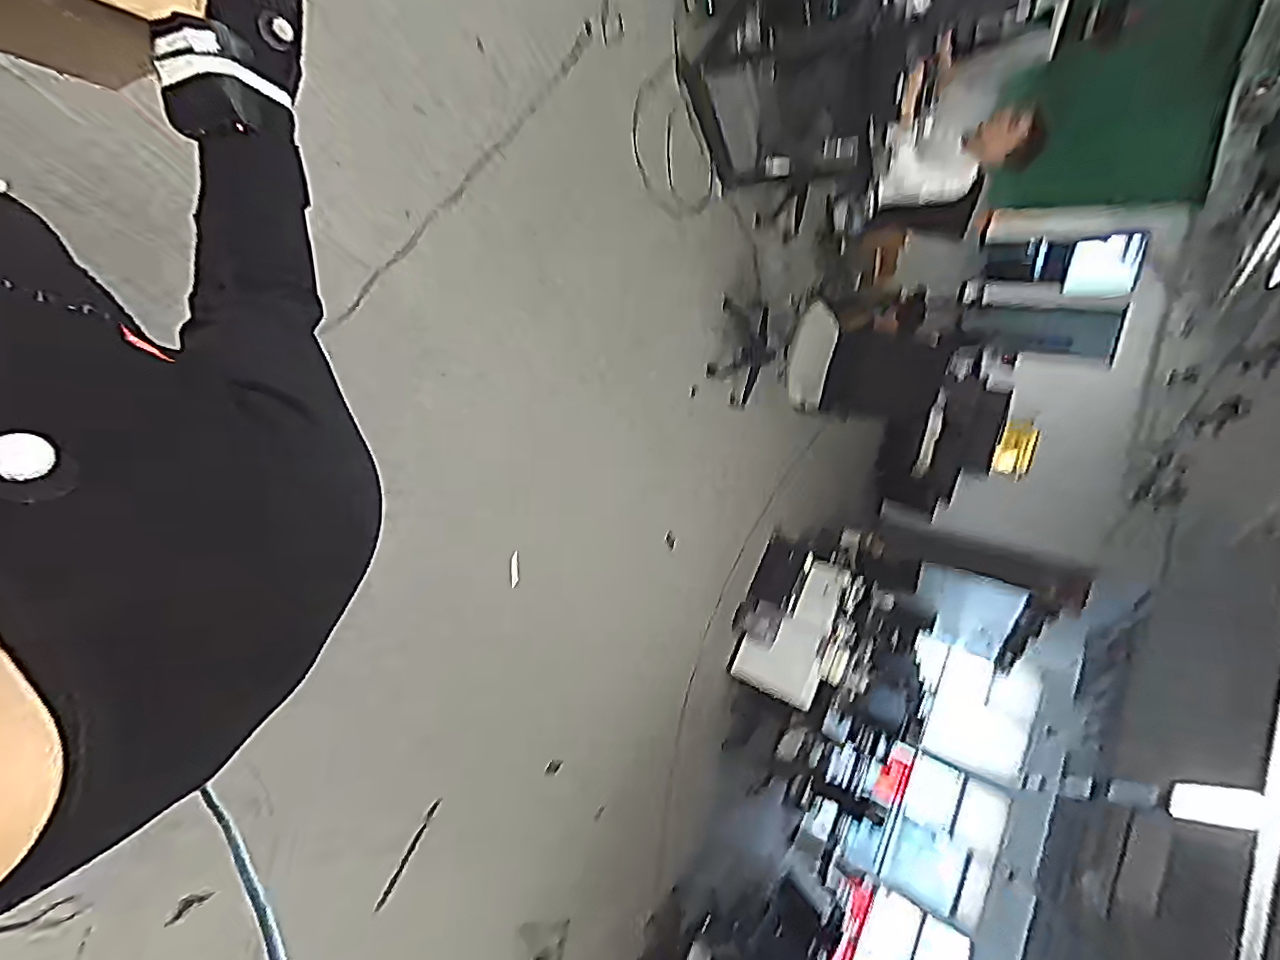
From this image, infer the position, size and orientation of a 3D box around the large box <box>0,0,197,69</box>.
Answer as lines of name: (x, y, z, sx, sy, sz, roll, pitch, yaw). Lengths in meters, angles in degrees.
large box: (-0.541, -0.496, 0.284, 0.408, 0.320, 0.320, -12, 118, -52)
